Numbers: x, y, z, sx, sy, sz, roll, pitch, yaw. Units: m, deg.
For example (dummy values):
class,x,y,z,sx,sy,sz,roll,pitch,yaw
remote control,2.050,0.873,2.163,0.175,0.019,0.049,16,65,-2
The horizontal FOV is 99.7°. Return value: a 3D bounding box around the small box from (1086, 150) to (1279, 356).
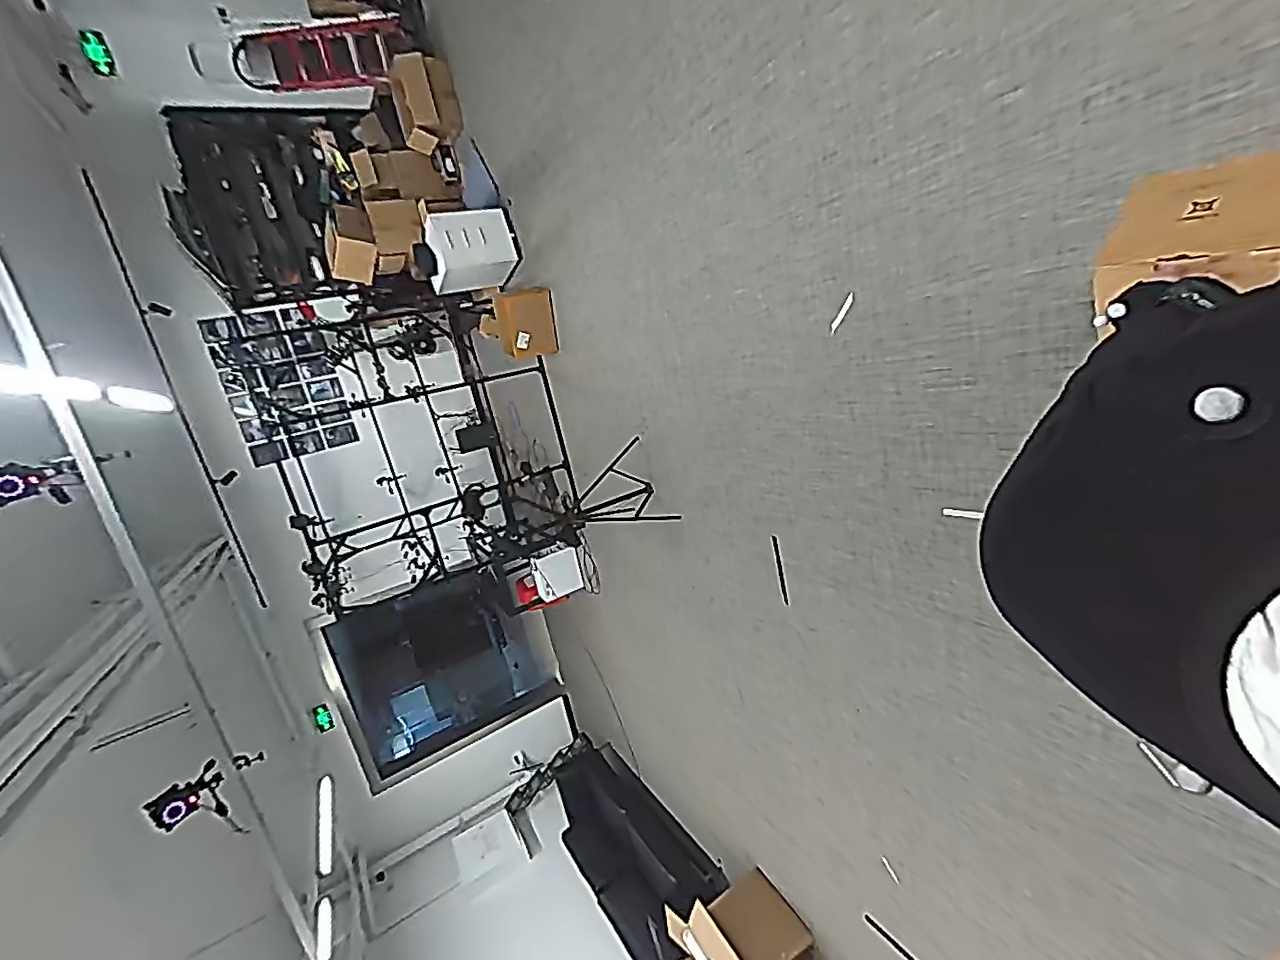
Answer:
class,x,y,z,sx,sy,sz,roll,pitch,yaw
small box,0.713,-0.276,0.696,0.168,0.179,0.176,16,156,51
